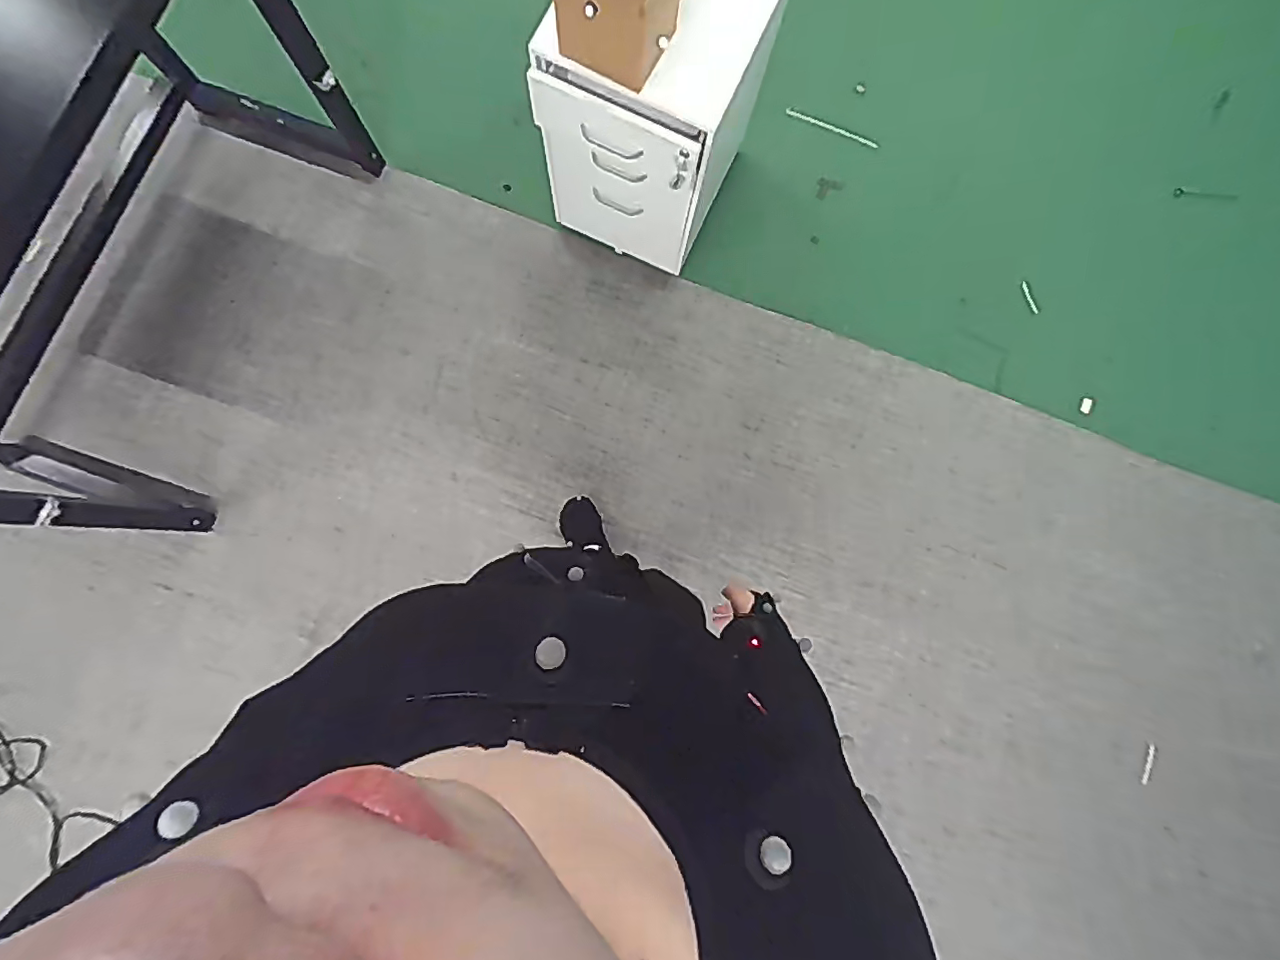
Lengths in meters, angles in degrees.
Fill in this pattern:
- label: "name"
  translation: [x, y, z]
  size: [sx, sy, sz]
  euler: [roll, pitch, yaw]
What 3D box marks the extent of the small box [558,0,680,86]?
- label: "small box"
  translation: [-0.037, -0.851, 0.952]
  size: [0.179, 0.176, 0.168]
  euler: [27, 81, 0]
